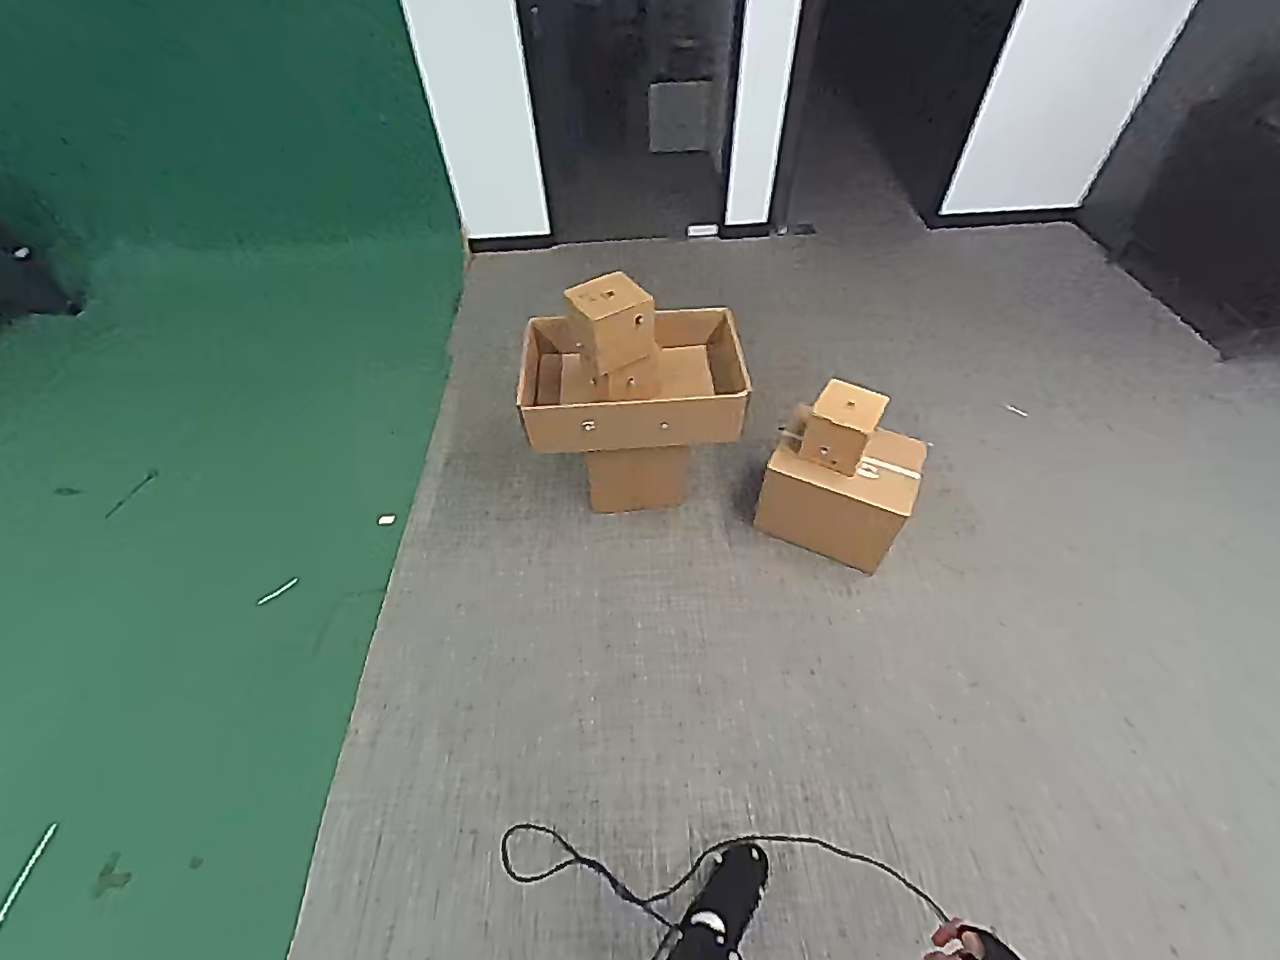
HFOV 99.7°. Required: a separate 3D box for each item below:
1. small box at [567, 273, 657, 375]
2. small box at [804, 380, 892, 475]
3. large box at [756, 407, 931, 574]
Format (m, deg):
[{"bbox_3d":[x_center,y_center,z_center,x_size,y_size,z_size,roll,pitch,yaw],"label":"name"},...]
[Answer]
[{"bbox_3d":[-0.071,-0.407,1.417,0.179,0.176,0.168,-27,54,-18],"label":"small box"},{"bbox_3d":[0.581,-0.147,1.528,0.168,0.176,0.179,25,55,21],"label":"small box"},{"bbox_3d":[0.621,0.030,1.696,0.408,0.320,0.320,22,55,18],"label":"large box"}]
